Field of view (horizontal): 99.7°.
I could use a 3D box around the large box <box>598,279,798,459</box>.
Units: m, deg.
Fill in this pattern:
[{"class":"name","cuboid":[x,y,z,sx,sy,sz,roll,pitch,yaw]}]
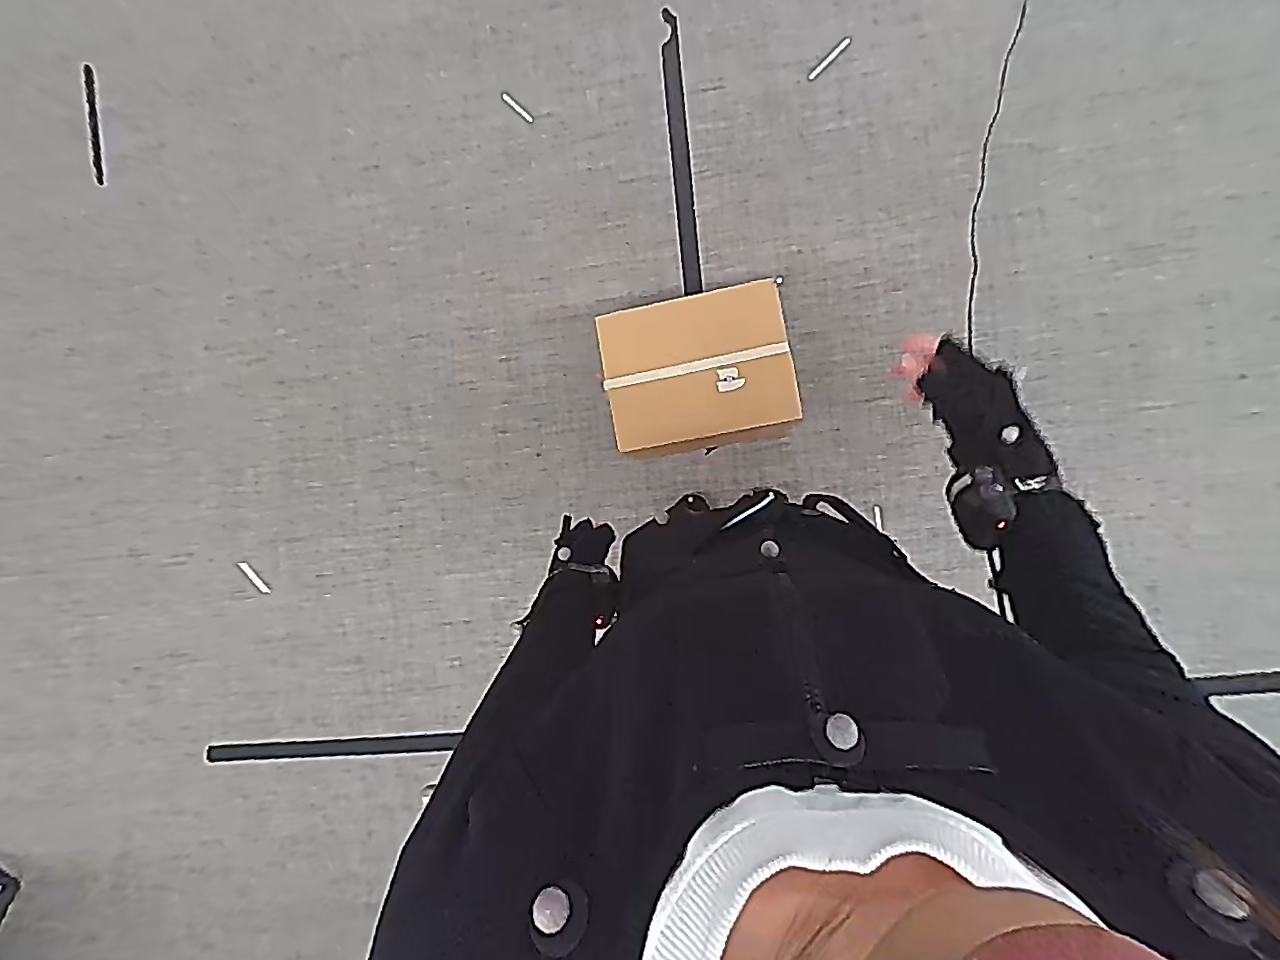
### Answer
[{"class":"large box","cuboid":[0.140,-0.247,1.343,0.408,0.320,0.320,-10,88,7]}]
